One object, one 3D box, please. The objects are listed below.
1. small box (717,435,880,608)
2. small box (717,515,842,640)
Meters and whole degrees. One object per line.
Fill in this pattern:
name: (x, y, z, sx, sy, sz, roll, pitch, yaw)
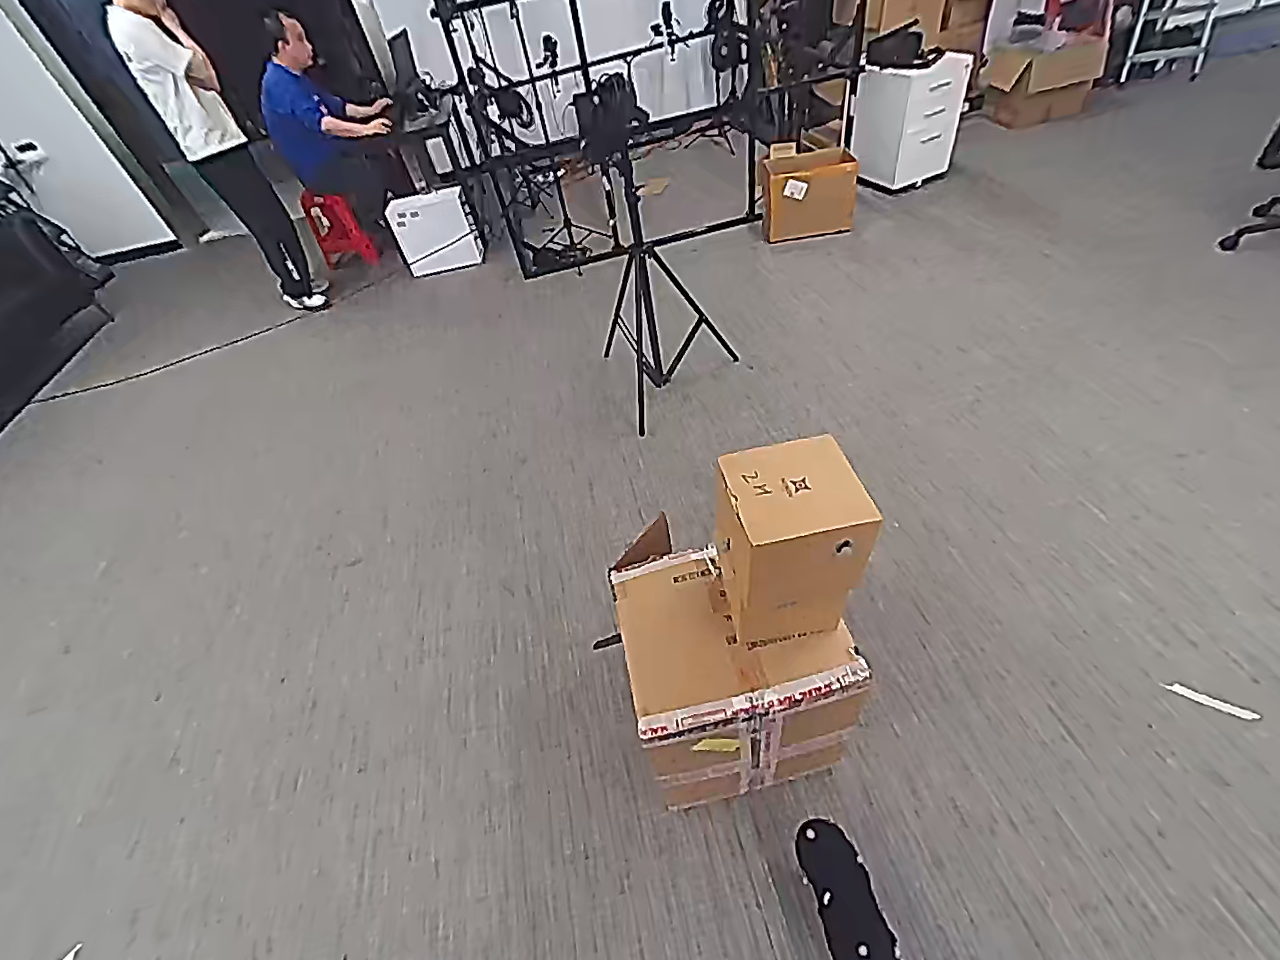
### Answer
small box: (0.214, 0.064, 0.786, 0.179, 0.176, 0.168, -12, 47, -1)
small box: (0.234, 0.156, 0.923, 0.179, 0.176, 0.168, -9, 47, 0)
